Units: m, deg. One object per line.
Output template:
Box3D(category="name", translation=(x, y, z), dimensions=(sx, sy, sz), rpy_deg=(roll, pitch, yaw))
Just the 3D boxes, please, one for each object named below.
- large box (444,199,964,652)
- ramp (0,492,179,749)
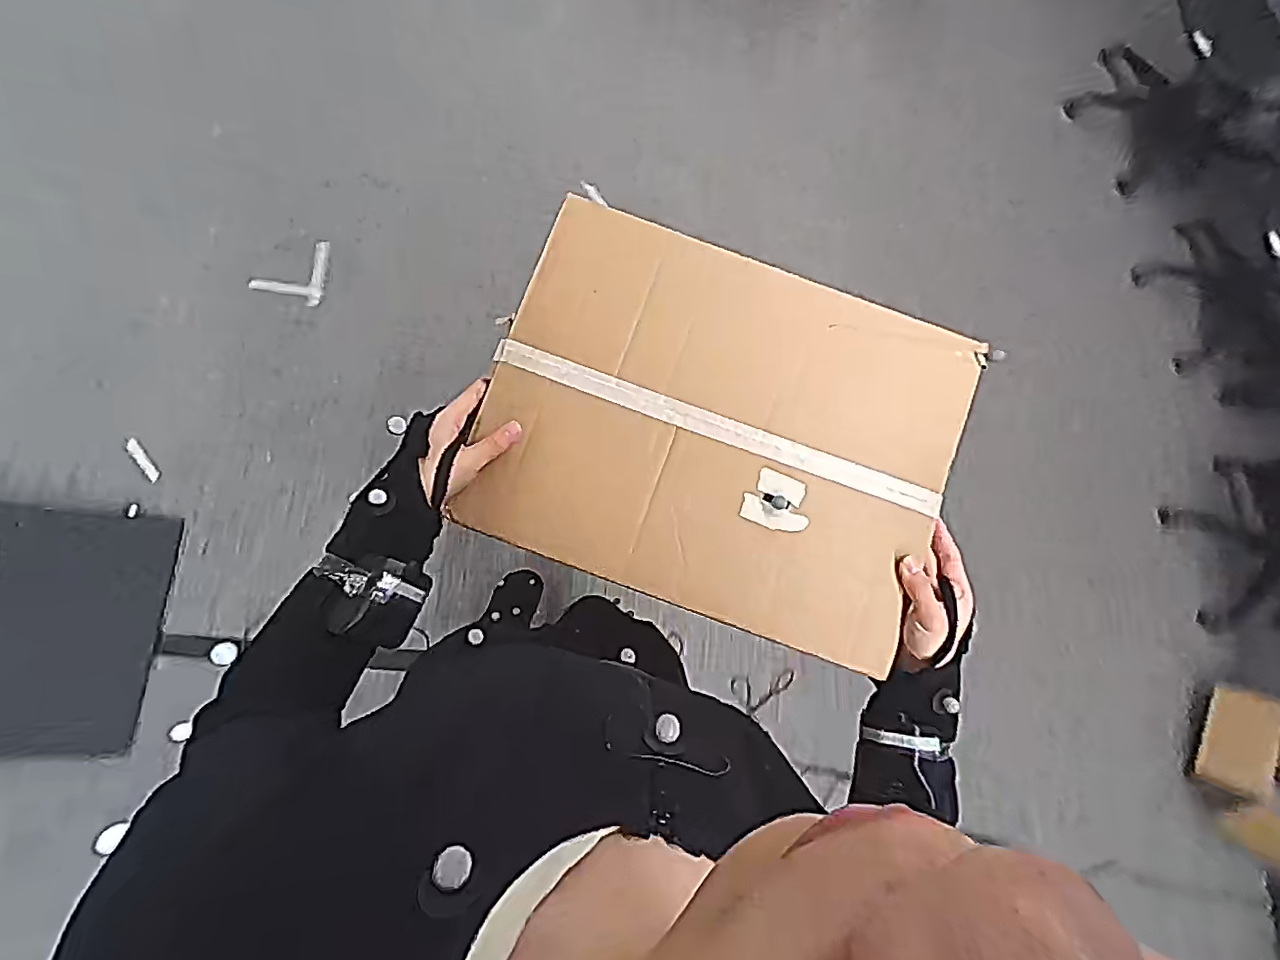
Box3D(category="large box", translation=(0.057, -0.041, 0.625), dimensions=(0.408, 0.320, 0.320), rpy_deg=(19, 85, -1))
Box3D(category="ramp", translation=(-1.494, 0.226, 0.964), dimensions=(0.991, 0.206, 0.509), rpy_deg=(7, 77, -14))
